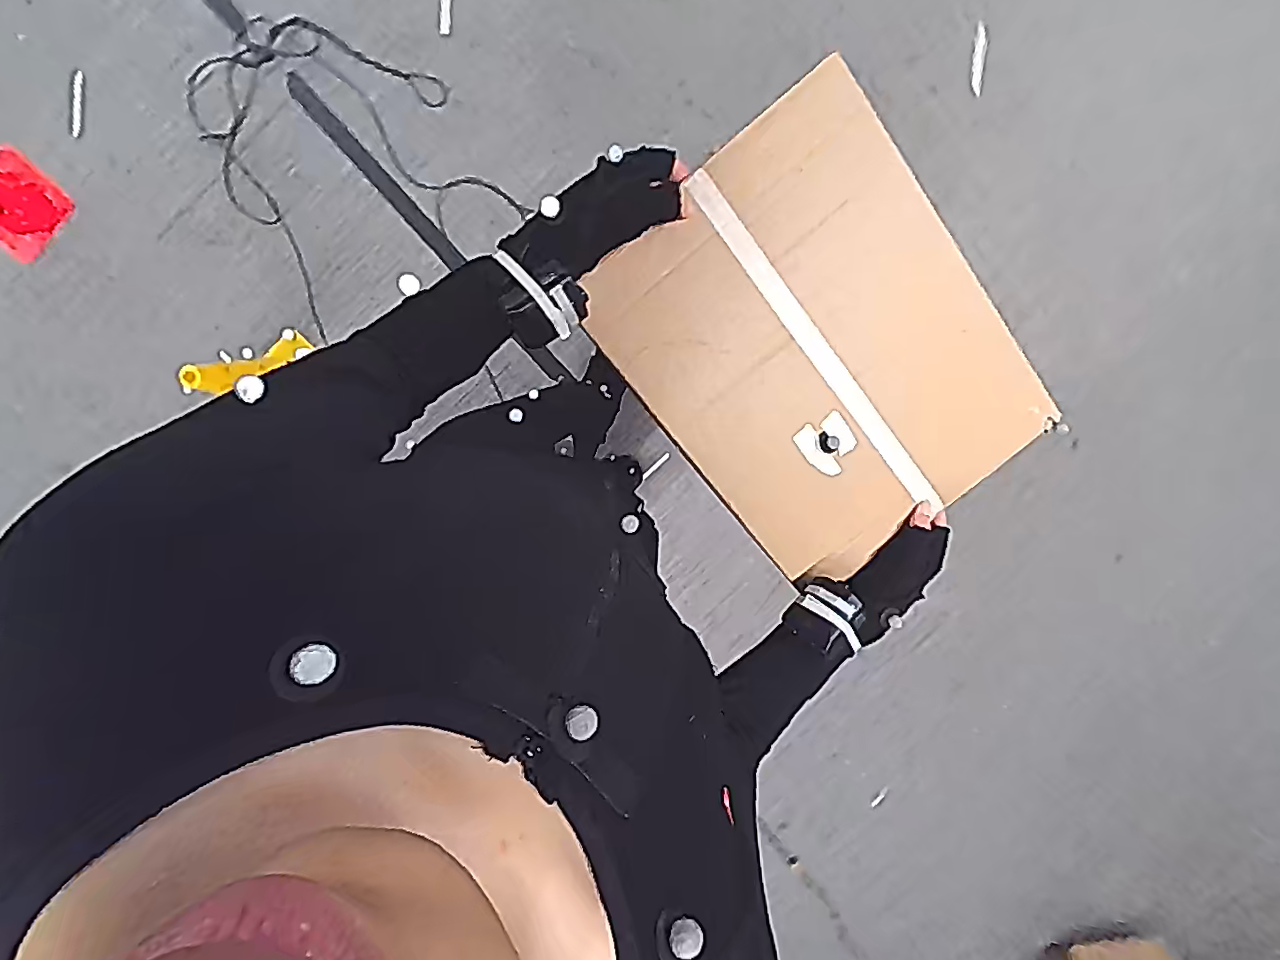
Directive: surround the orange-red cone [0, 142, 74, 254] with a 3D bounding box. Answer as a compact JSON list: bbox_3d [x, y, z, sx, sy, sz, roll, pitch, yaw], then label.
[{"bbox_3d":[-1.491,-0.649,1.139,0.198,0.360,0.199,-45,99,6],"label":"orange-red cone"}]
